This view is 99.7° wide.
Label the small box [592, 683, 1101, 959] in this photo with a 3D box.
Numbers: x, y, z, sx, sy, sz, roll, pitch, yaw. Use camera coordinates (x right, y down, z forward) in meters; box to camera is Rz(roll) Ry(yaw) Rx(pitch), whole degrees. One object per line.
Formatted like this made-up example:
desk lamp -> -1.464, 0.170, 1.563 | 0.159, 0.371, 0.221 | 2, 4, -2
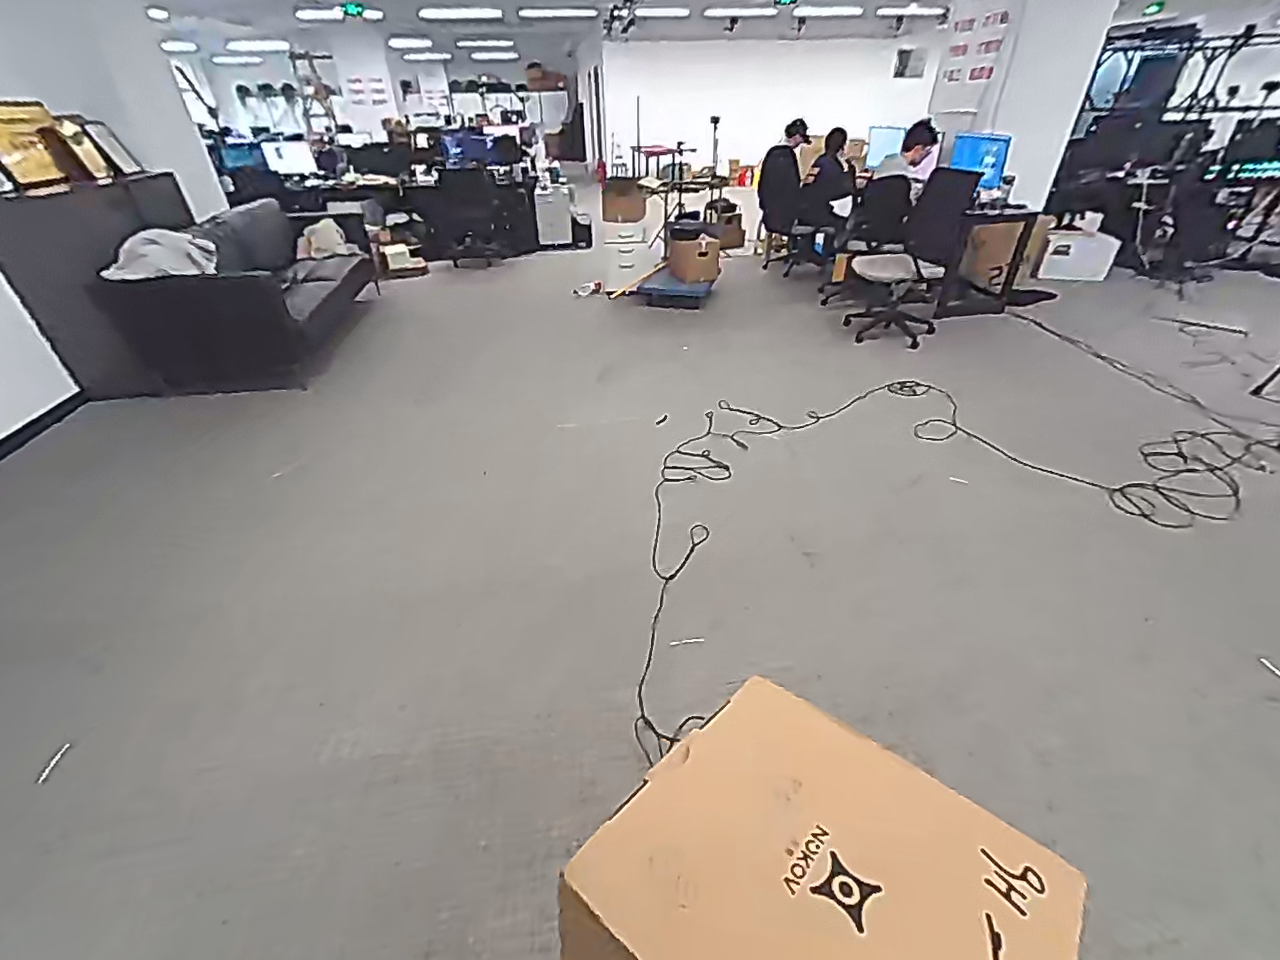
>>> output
small box -> 0.090, 0.251, 0.277 | 0.179, 0.176, 0.168 | 23, 32, 37
